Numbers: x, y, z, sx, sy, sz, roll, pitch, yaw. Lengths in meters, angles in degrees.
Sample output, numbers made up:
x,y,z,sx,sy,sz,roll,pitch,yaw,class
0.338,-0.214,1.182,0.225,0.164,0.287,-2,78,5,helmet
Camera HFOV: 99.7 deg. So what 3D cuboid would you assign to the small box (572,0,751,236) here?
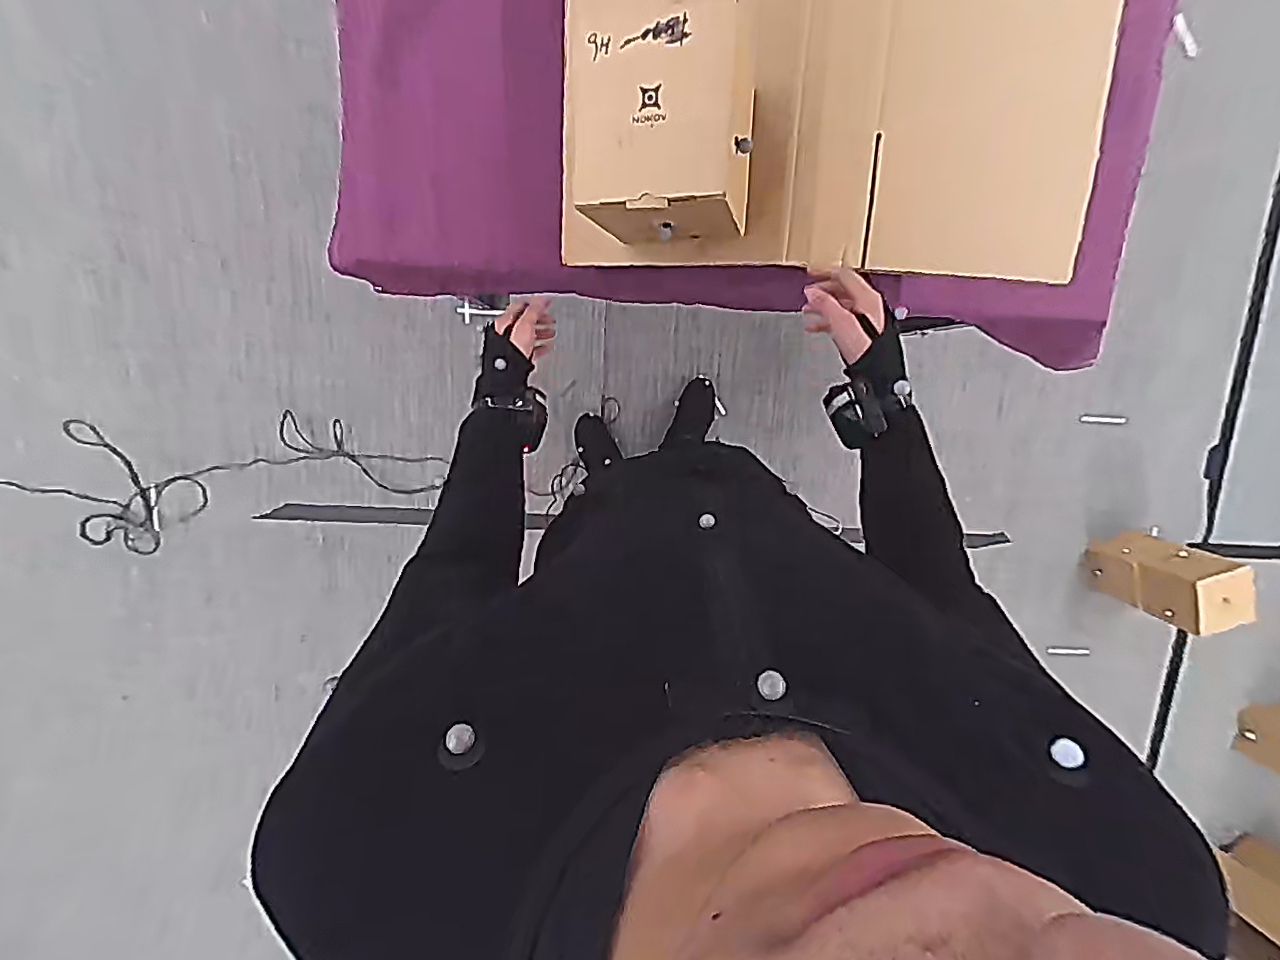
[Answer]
x,y,z,sx,sy,sz,roll,pitch,yaw,class
0.032,-0.385,0.615,0.168,0.176,0.179,5,102,16,small box
